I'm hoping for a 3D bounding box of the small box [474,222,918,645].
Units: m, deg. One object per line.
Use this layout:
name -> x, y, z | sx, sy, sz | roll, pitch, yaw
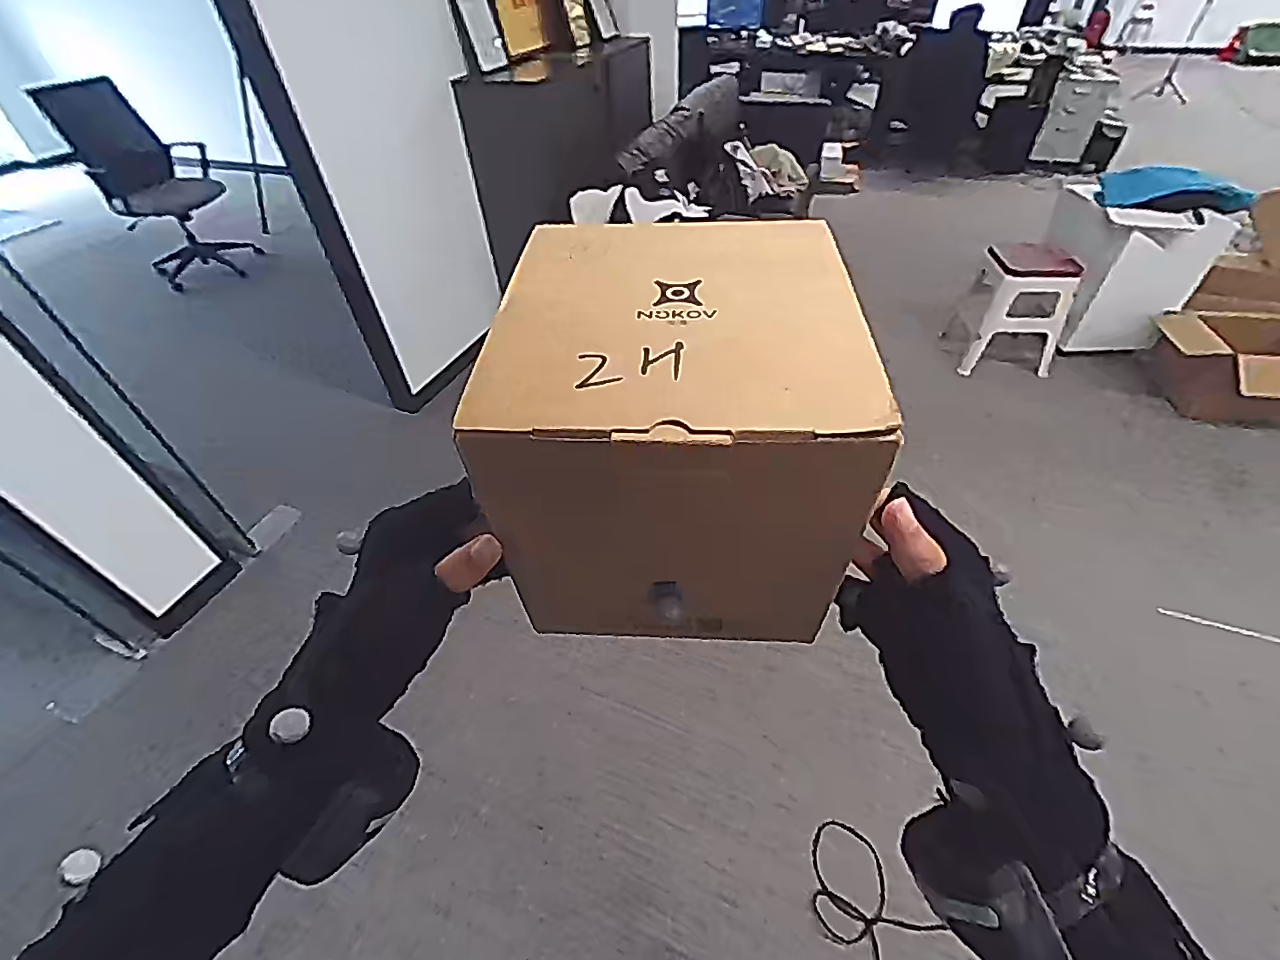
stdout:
small box -> 0.027, -0.026, 0.311 | 0.168, 0.176, 0.179 | 1, 50, 5
